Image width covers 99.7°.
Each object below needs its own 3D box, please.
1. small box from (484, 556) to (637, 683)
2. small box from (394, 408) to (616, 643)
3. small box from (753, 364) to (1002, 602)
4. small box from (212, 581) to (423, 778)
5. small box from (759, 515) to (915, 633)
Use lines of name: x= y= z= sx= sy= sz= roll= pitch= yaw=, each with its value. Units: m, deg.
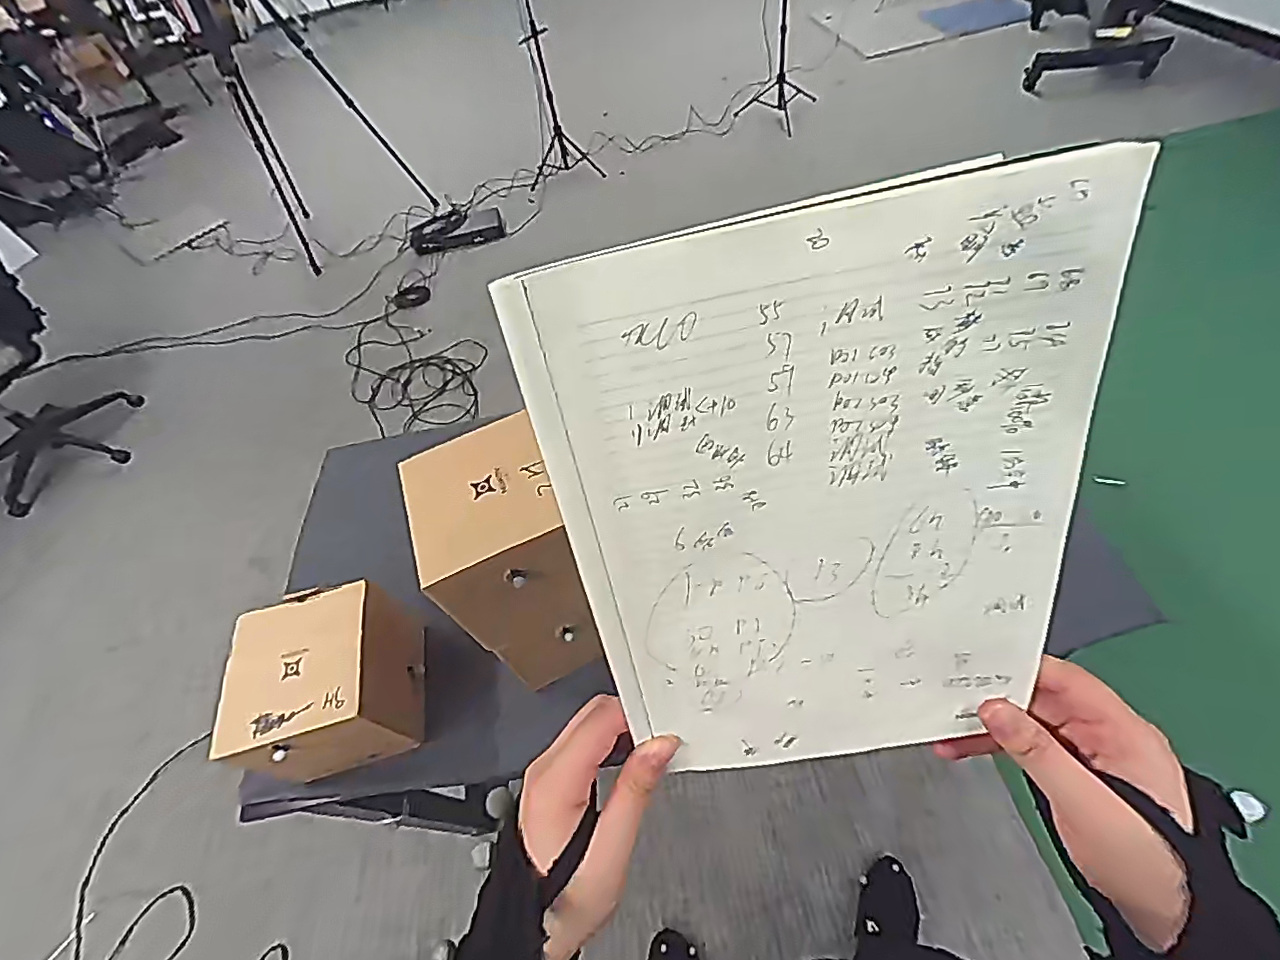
small box: x=-0.121 y=0.151 z=0.743 sx=0.179 sy=0.176 sz=0.168 roll=-26 pitch=54 yaw=-9
small box: x=-0.145 y=0.057 z=0.609 sx=0.179 sy=0.176 sz=0.168 roll=-24 pitch=54 yaw=-7
small box: x=0.227 y=0.009 z=0.575 sx=0.179 sy=0.176 sz=0.168 roll=-14 pitch=52 yaw=1
small box: x=-0.400 y=0.264 z=0.708 sx=0.168 sy=0.176 sz=0.179 roll=-16 pitch=53 yaw=-3
small box: x=0.245 y=0.086 z=0.719 sx=0.168 sy=0.176 sz=0.179 roll=0 pitch=54 yaw=11
